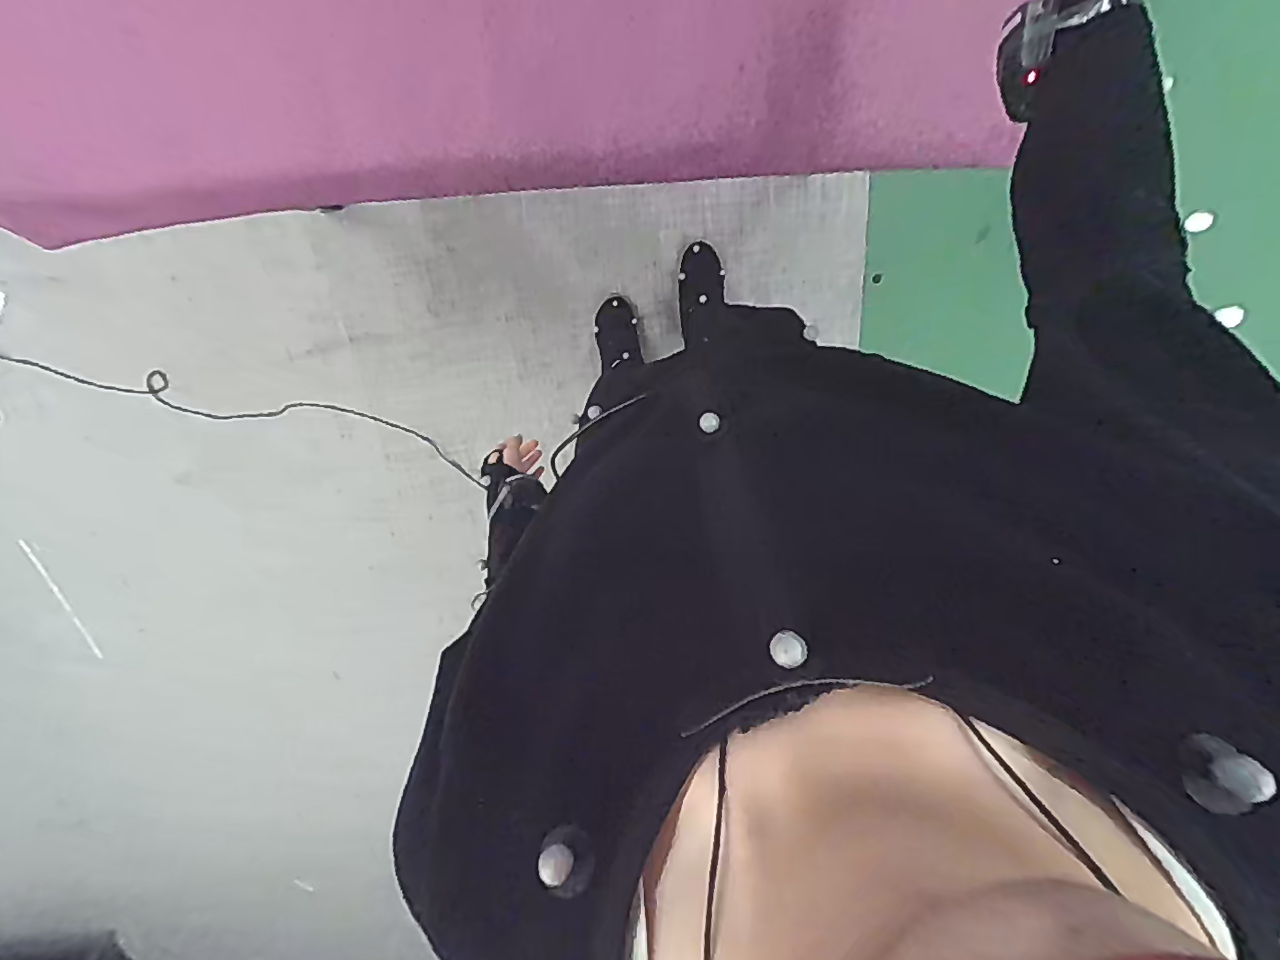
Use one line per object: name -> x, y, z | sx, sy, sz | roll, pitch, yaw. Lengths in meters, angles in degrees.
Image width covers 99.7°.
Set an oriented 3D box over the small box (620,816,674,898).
small box -> 0.023, 1.274, 1.839 | 0.168, 0.176, 0.179 | -7, 114, 3
